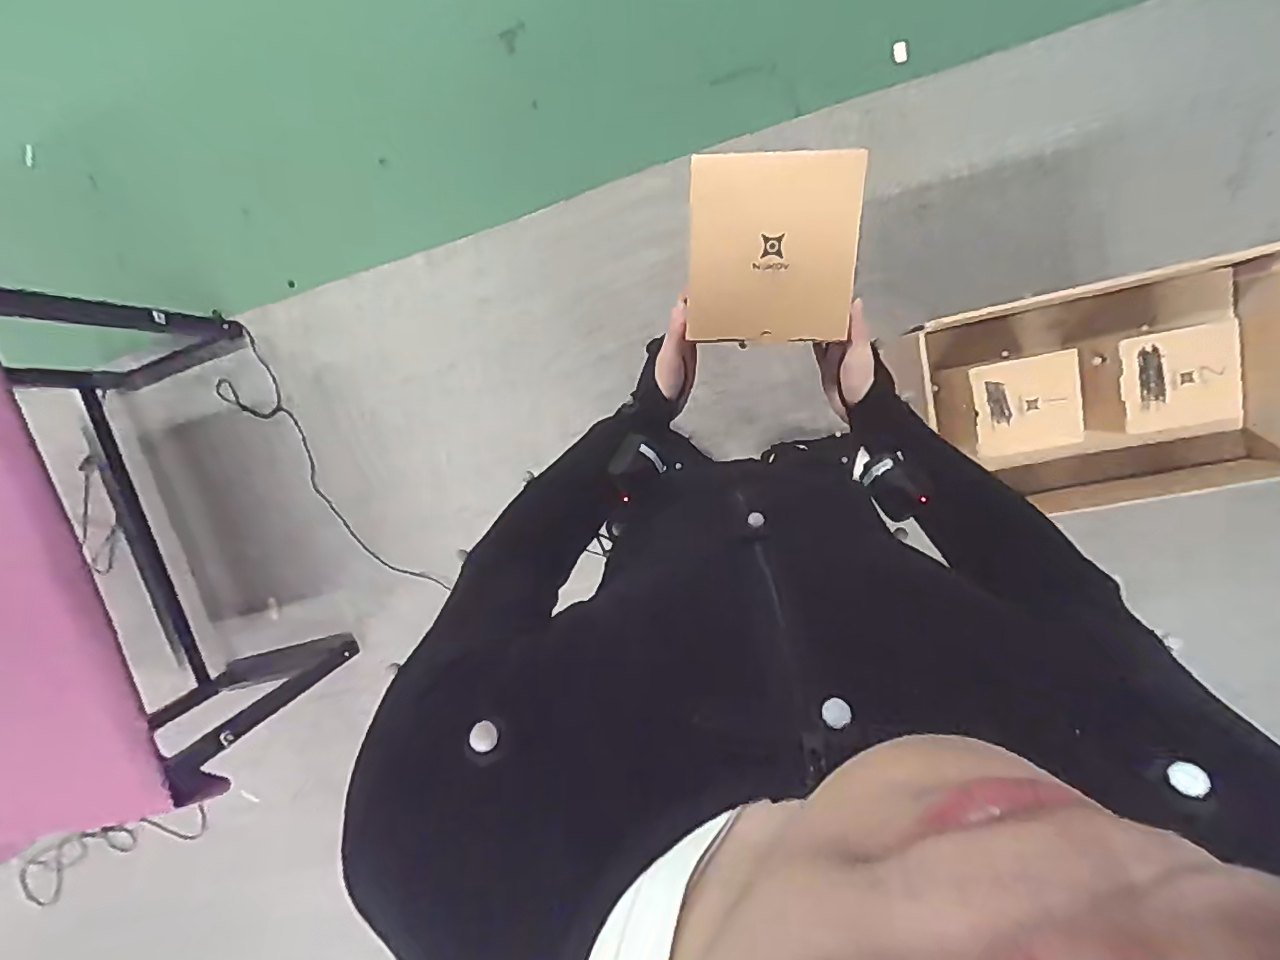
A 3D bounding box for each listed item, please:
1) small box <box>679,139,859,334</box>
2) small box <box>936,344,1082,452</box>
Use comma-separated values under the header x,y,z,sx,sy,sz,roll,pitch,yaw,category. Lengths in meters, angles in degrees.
x,y,z,sx,sy,sz,roll,pitch,yaw,category
0.128,-0.258,0.605,0.168,0.176,0.179,1,109,5,small box
0.681,-0.153,1.022,0.179,0.176,0.168,-10,98,8,small box
